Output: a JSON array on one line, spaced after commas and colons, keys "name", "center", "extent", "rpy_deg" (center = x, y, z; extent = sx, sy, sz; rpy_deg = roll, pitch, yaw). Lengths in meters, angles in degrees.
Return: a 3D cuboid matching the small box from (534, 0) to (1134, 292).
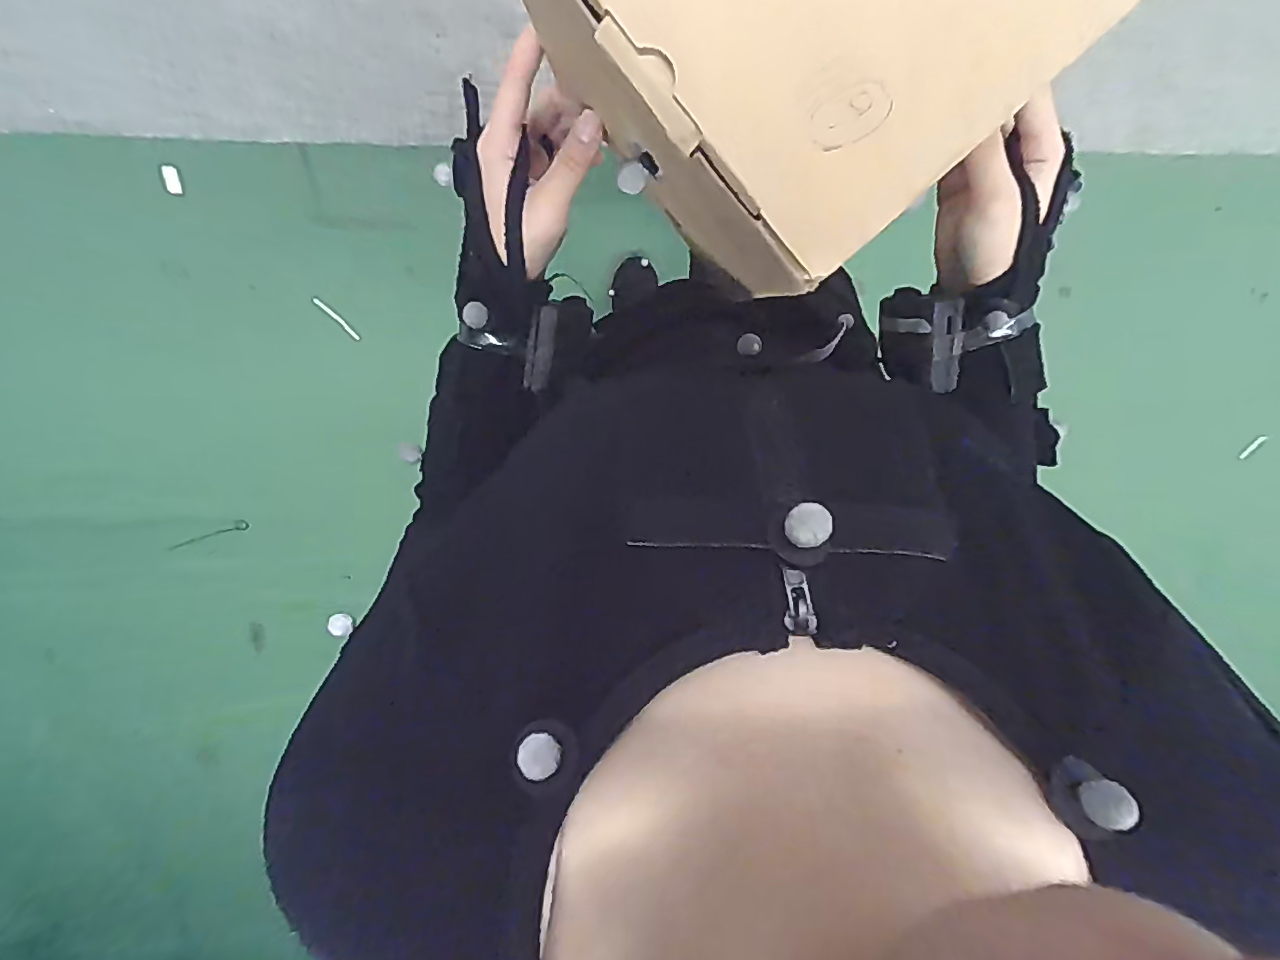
[{"name": "small box", "center": [0.068, -0.199, 0.228], "extent": [0.179, 0.176, 0.168], "rpy_deg": [-40, 101, 13]}]
